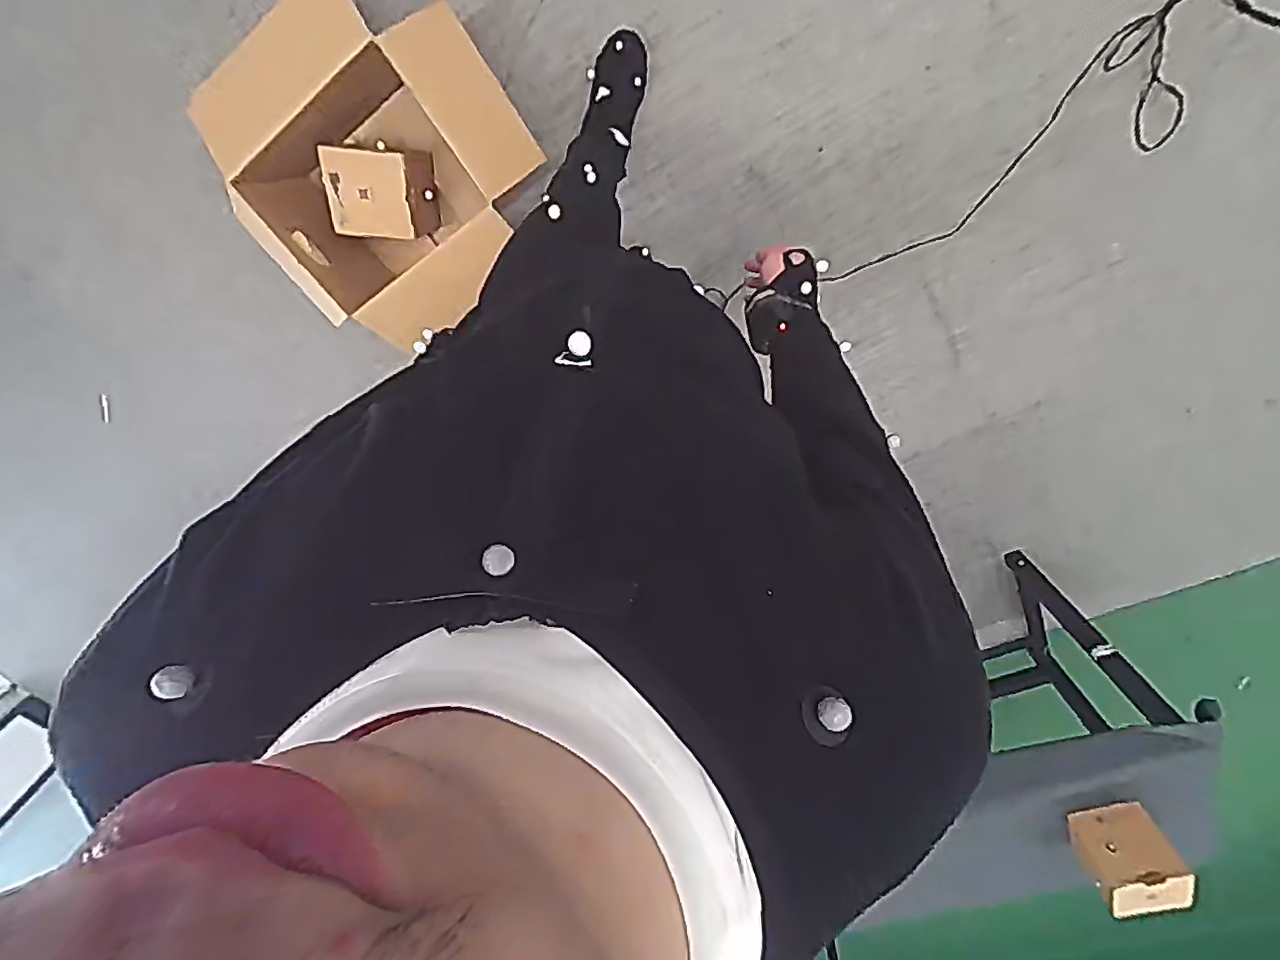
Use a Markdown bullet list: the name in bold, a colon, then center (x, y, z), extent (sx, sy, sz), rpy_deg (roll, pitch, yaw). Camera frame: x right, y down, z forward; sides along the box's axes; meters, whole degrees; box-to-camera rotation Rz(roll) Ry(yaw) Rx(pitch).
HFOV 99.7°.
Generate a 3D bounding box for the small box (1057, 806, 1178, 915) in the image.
- **small box**: center (1.177, 0.939, 1.346), extent (0.168, 0.176, 0.179), rpy_deg (-21, 120, 14)
